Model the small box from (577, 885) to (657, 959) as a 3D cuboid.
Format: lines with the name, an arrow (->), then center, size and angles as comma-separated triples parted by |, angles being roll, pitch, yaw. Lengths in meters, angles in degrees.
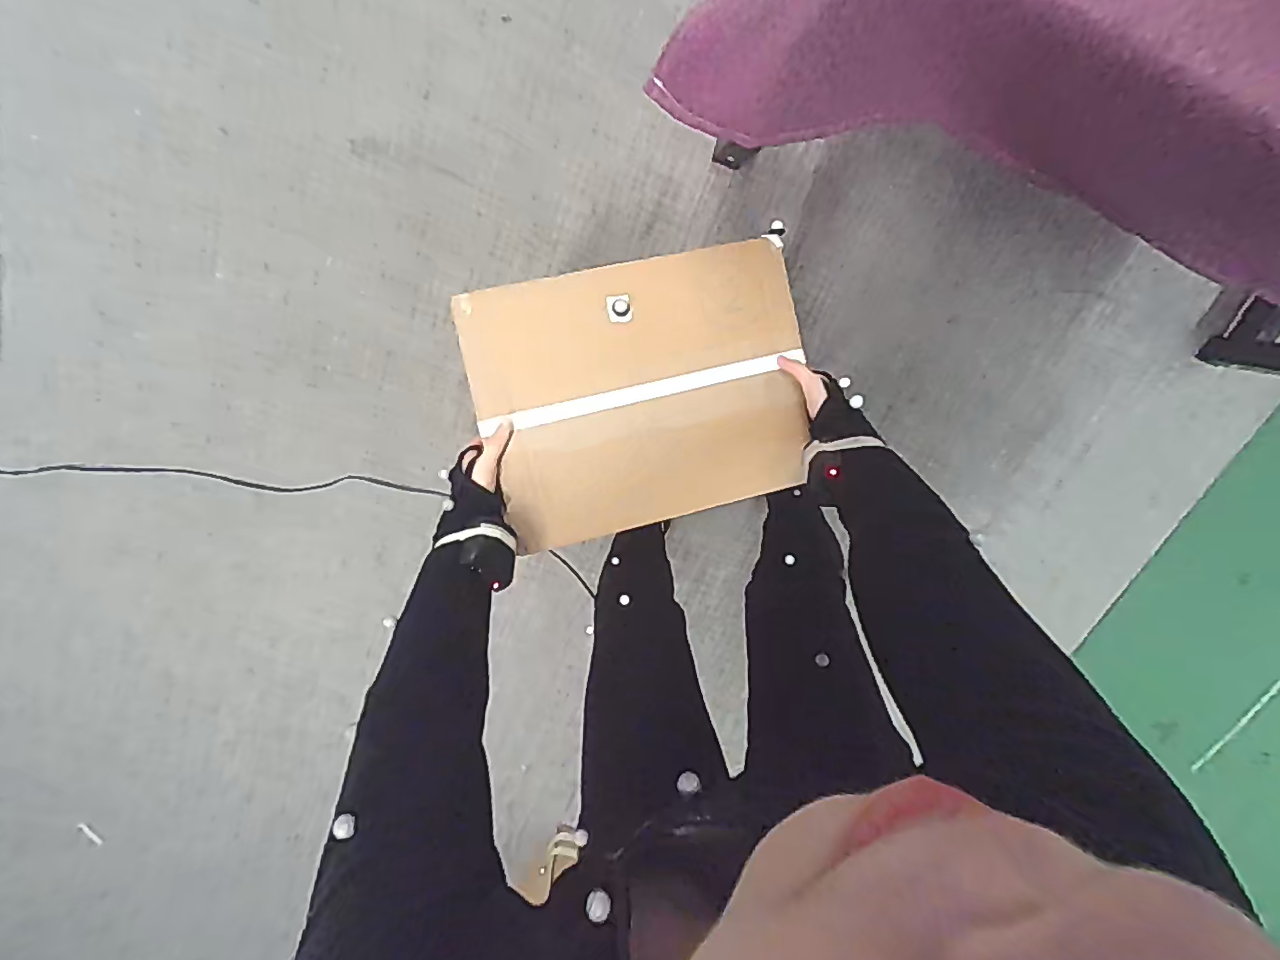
small box -> -0.070, 1.323, 1.571 | 0.179, 0.176, 0.168 | 25, 107, -13
